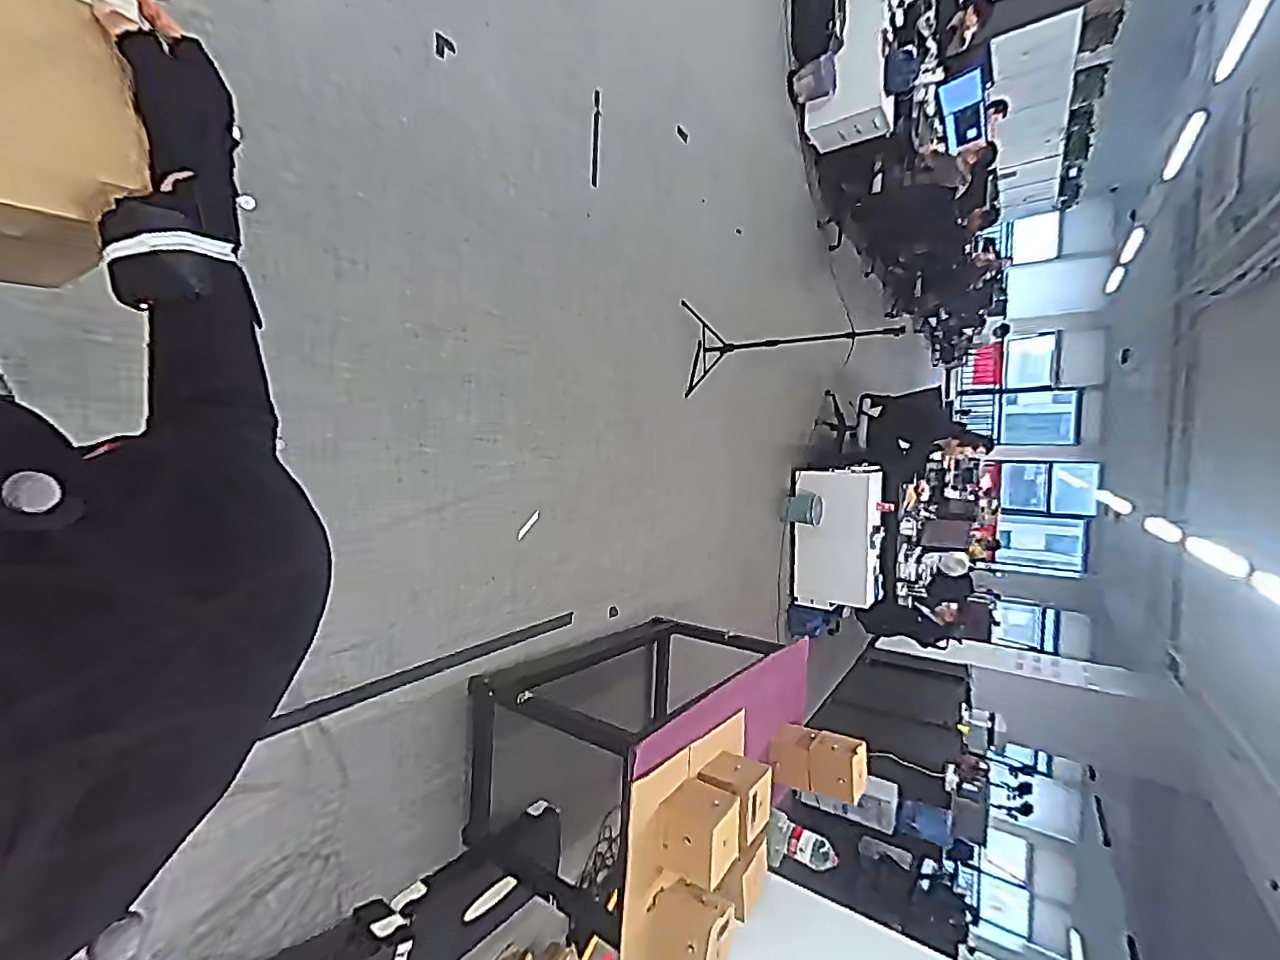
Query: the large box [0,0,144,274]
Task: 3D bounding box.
[{"bbox_3d":[-0.619,-0.341,0.319,0.408,0.320,0.320,-8,102,-57],"label":"large box"}]
